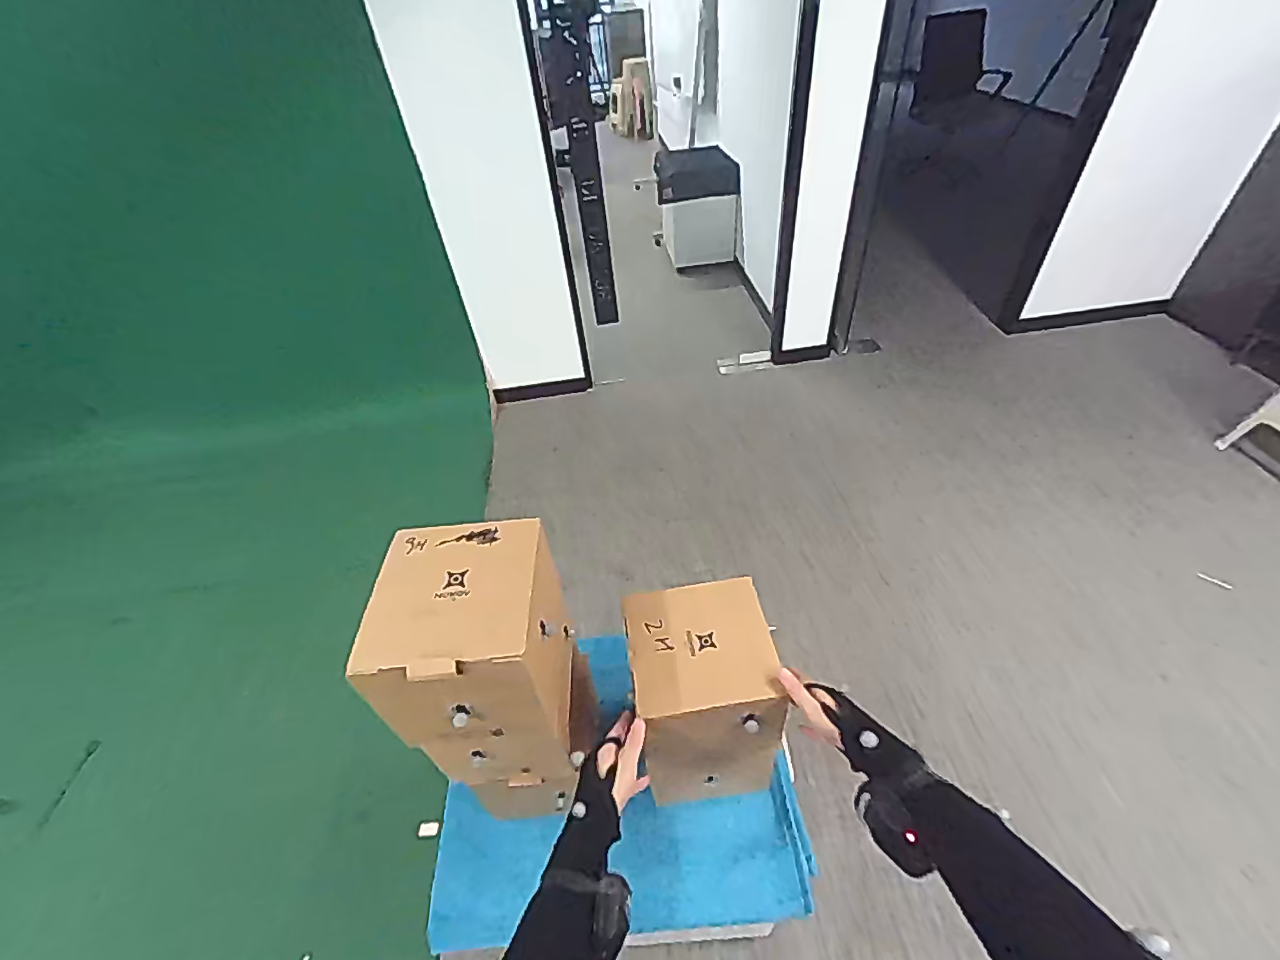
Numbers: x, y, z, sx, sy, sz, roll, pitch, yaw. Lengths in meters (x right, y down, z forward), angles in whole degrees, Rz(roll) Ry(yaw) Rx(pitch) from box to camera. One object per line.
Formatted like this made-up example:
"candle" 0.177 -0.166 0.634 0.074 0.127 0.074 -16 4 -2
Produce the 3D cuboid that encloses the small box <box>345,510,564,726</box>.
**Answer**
"small box" -0.182 0.156 0.598 0.168 0.176 0.179 -4 43 1

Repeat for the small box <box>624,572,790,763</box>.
"small box" 0.080 0.246 0.704 0.179 0.176 0.168 -9 43 0

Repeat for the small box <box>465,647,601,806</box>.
"small box" -0.151 0.383 0.830 0.168 0.176 0.179 -5 43 0

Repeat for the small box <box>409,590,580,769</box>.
"small box" -0.175 0.268 0.719 0.168 0.176 0.179 -4 42 2
